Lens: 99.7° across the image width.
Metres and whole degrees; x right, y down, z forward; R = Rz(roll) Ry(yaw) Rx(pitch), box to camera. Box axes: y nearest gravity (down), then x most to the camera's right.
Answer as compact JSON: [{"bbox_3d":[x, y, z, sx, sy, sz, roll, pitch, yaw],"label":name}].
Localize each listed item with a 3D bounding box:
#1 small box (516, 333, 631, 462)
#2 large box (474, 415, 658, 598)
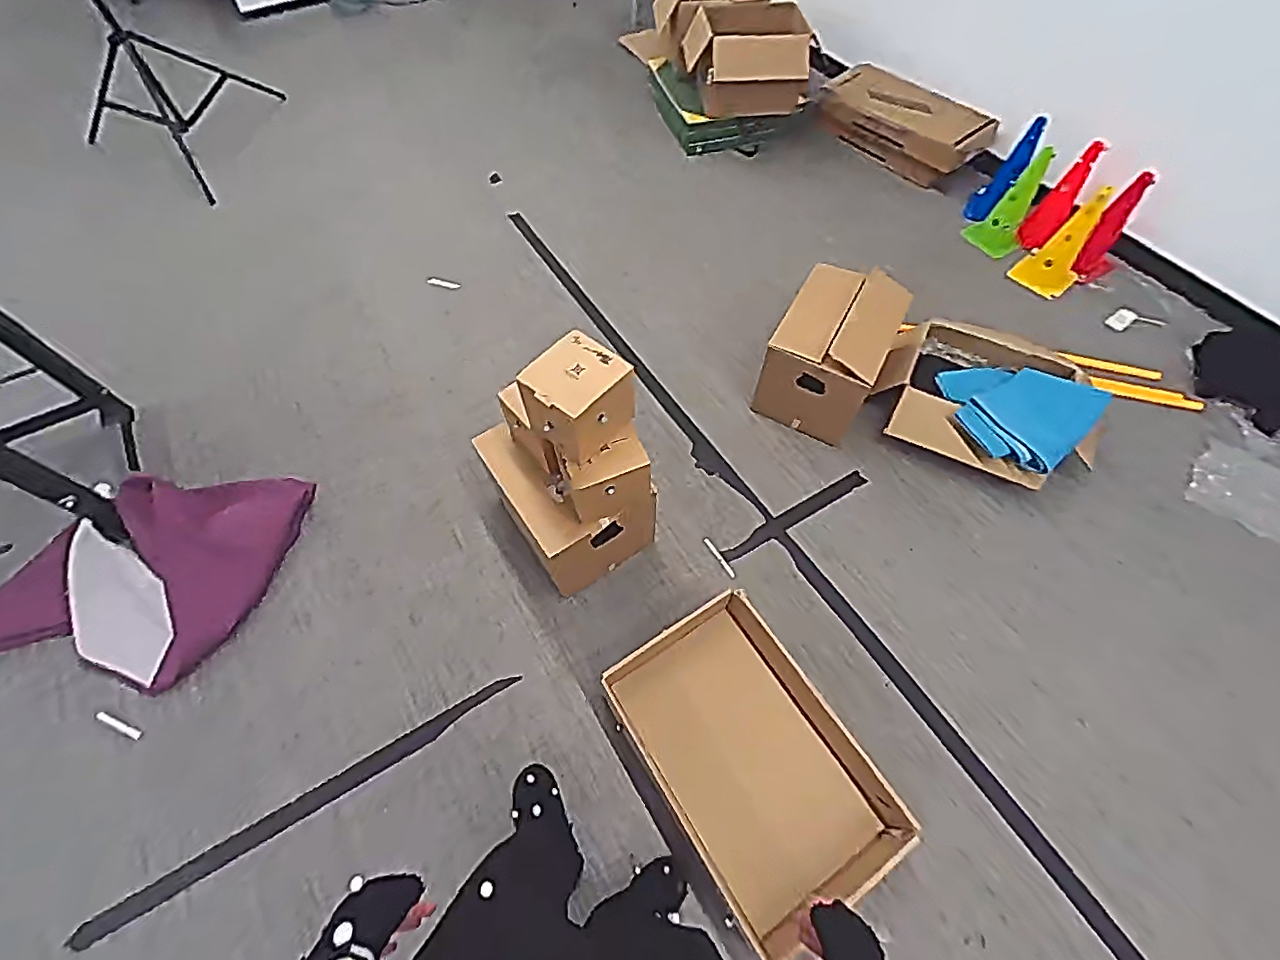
[{"bbox_3d":[-0.130,-0.169,1.147,0.168,0.176,0.179,37,67,19],"label":"small box"},{"bbox_3d":[-0.195,0.044,1.494,0.320,0.320,0.408,-33,66,-16],"label":"large box"}]
